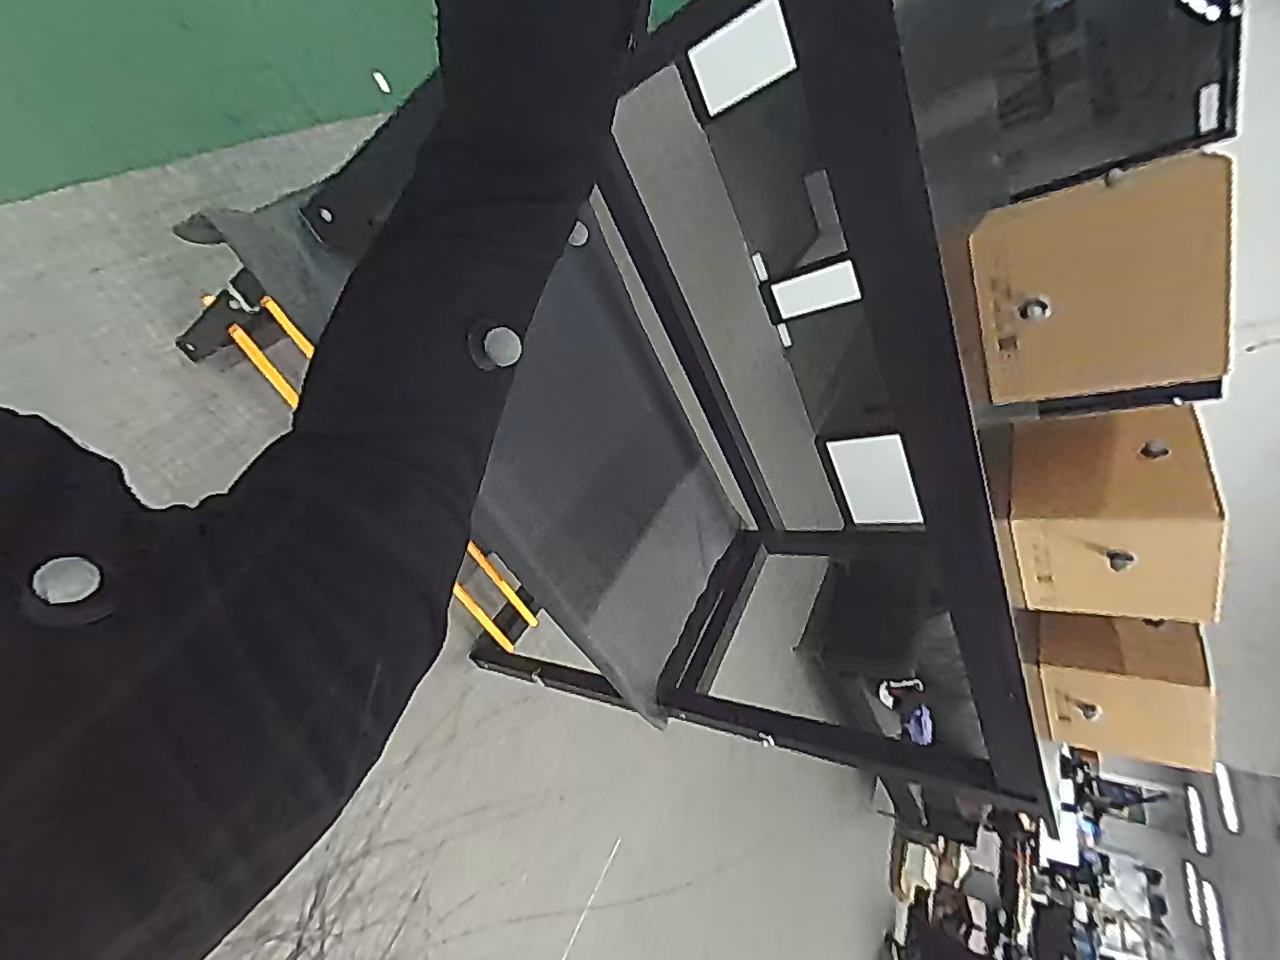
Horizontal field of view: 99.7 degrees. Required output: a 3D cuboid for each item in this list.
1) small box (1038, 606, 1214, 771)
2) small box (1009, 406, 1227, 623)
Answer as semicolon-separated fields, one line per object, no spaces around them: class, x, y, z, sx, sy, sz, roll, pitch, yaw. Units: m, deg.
small box;0.675;0.263;0.766;0.179;0.176;0.168;-47;121;-40
small box;0.541;0.040;0.629;0.168;0.176;0.179;56;48;-31
